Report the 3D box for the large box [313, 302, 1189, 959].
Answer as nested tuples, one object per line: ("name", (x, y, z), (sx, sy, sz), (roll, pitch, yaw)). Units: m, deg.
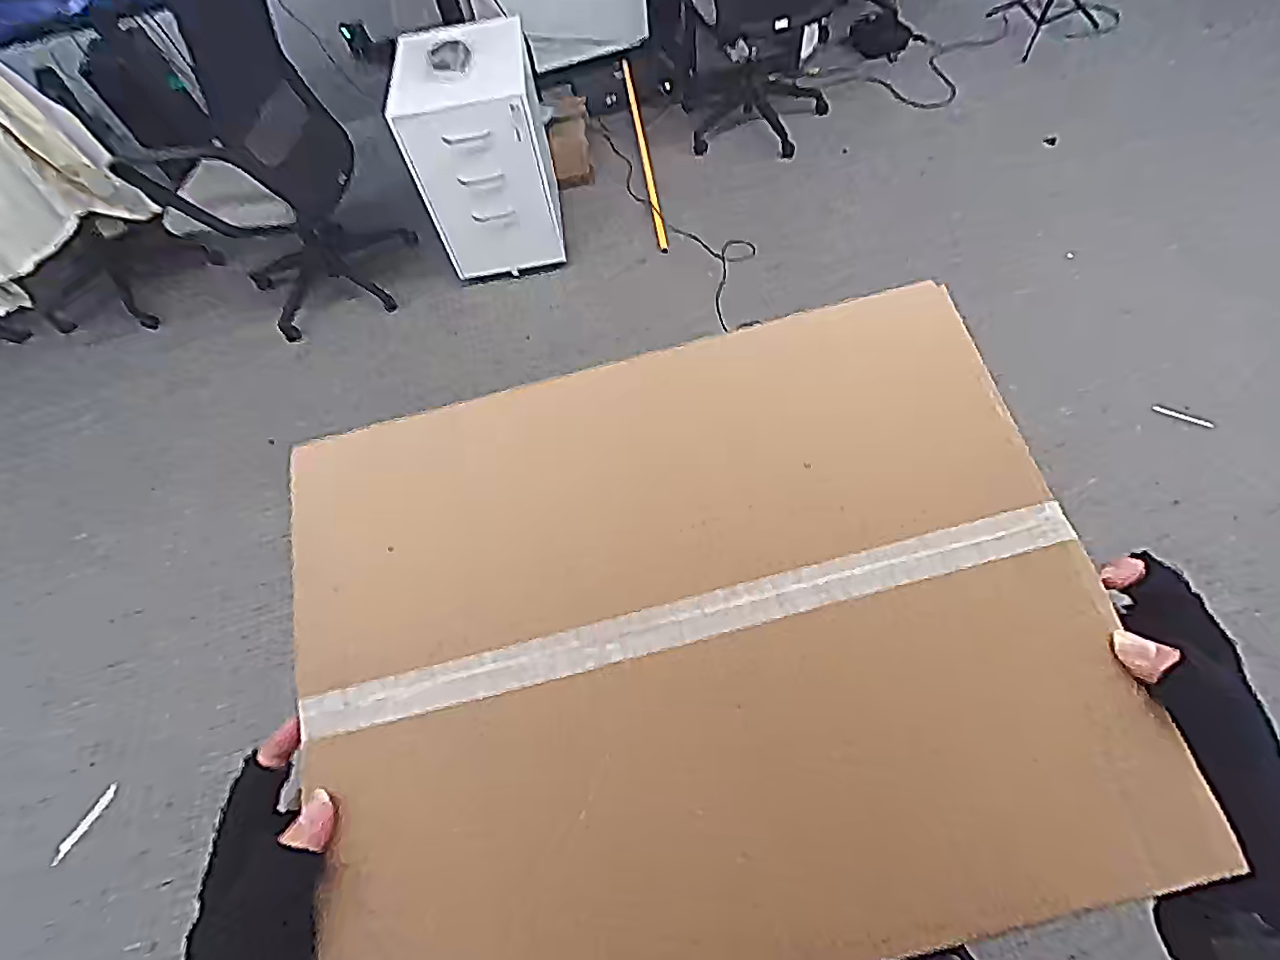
("large box", (0.036, 0.123, 0.430), (0.408, 0.320, 0.320), (-15, 70, 1))
